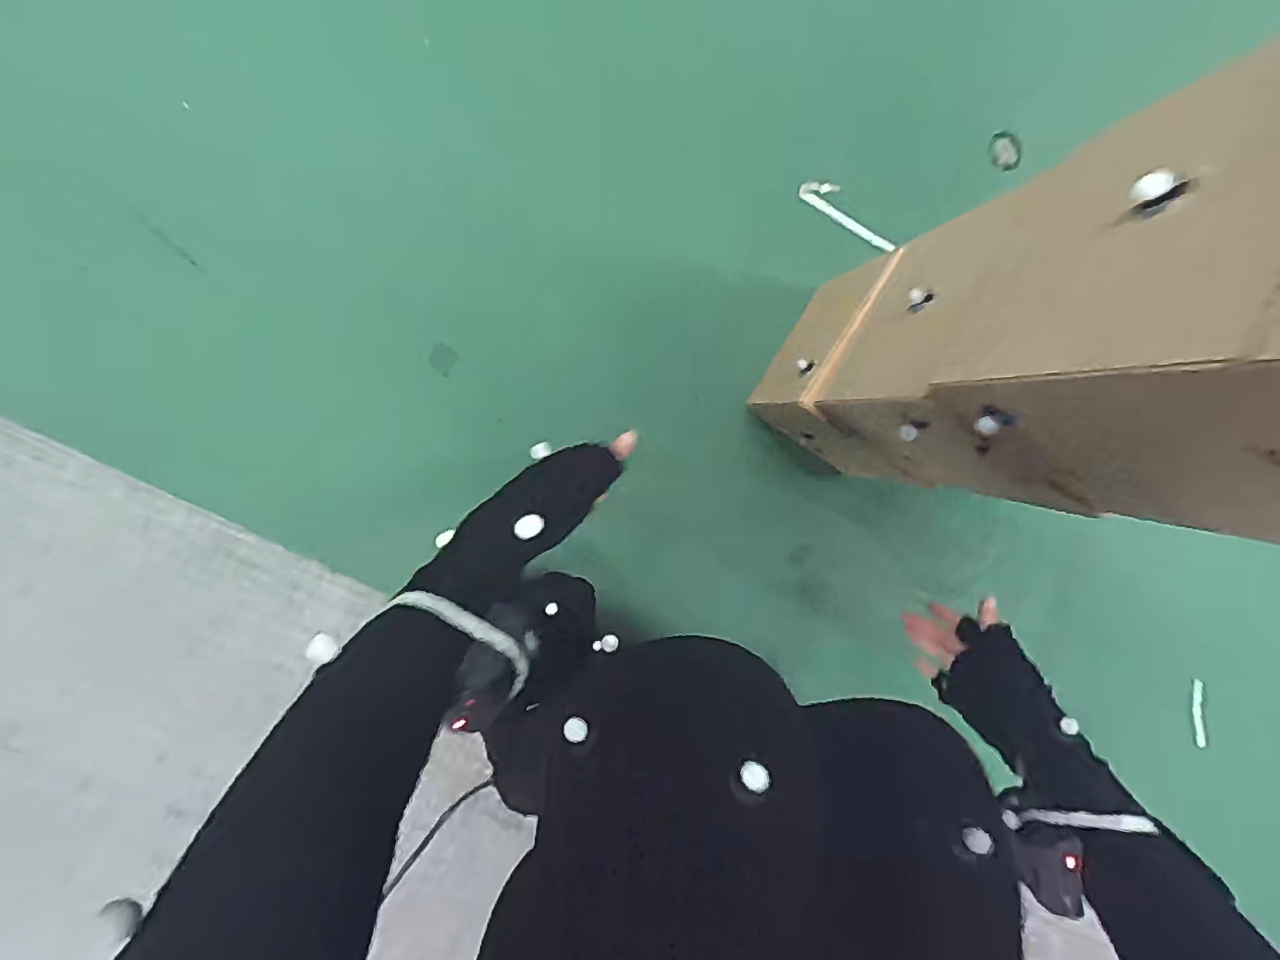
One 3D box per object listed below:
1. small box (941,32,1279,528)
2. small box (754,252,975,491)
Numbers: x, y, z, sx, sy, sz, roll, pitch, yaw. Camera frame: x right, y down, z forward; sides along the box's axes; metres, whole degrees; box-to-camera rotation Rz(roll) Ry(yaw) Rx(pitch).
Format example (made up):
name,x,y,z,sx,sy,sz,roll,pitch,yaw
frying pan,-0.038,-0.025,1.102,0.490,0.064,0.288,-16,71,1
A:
name,x,y,z,sx,sy,sz,roll,pitch,yaw
small box,0.298,-0.083,0.278,0.168,0.176,0.179,30,92,-10
small box,0.253,-0.112,0.603,0.168,0.176,0.179,31,93,-10
